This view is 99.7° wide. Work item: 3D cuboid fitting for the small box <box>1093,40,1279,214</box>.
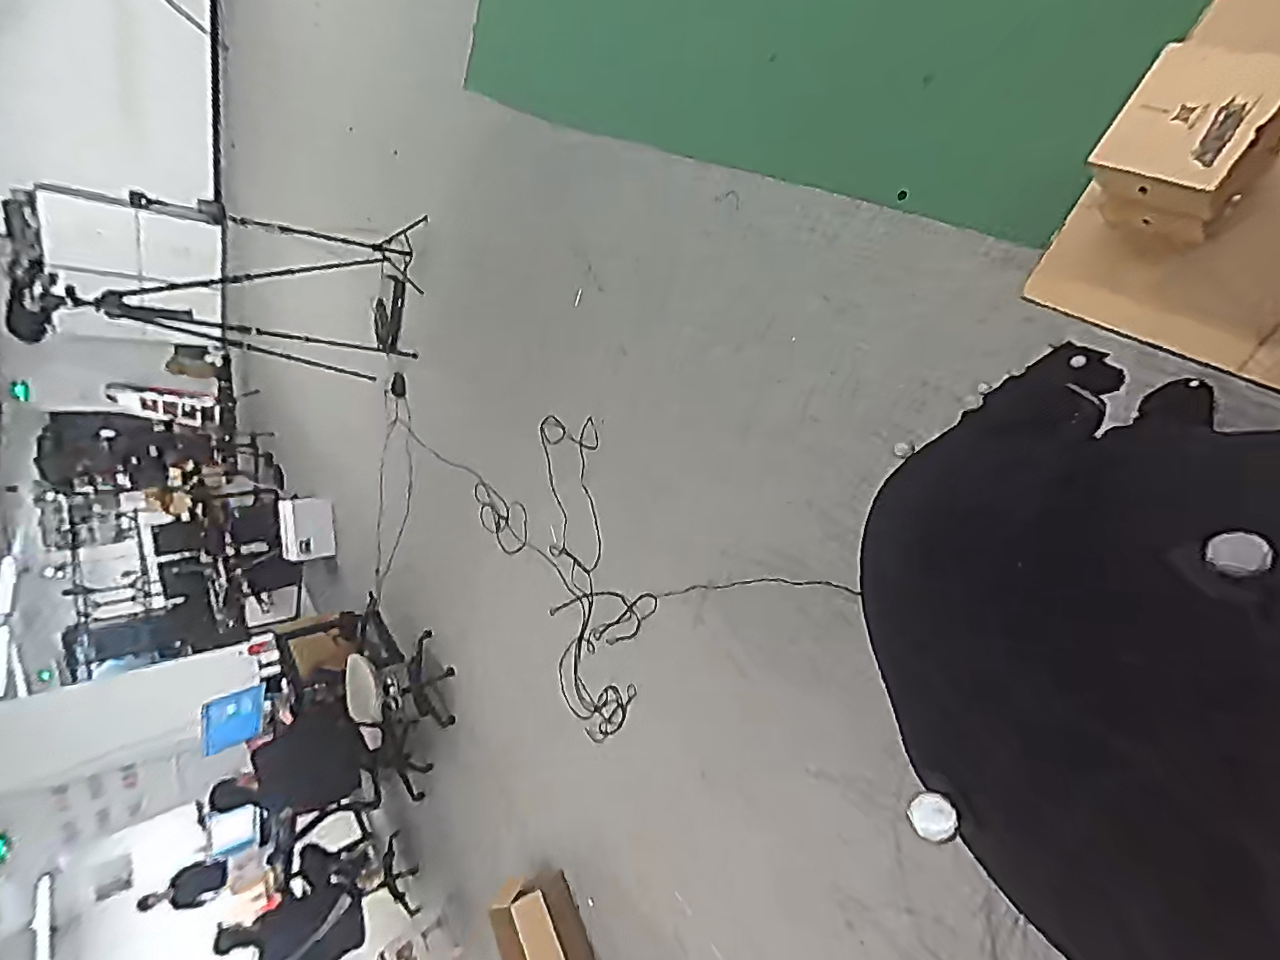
[{"bbox_3d":[0.863,-0.533,0.833,0.179,0.176,0.168,46,125,35],"label":"small box"}]
